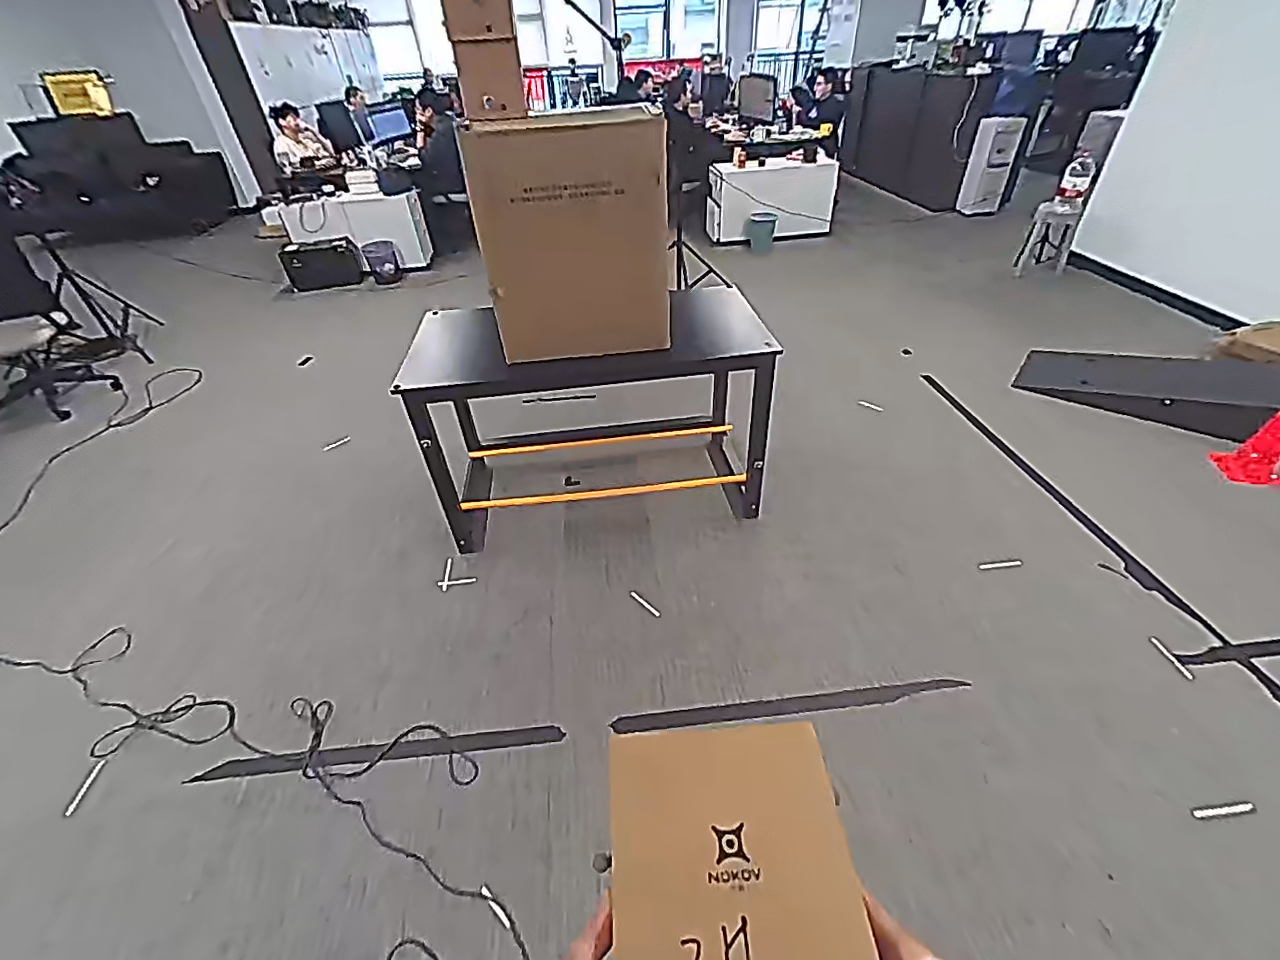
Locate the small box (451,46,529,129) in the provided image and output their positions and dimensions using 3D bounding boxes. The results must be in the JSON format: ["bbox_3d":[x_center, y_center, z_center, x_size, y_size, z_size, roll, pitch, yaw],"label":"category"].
[{"bbox_3d":[-0.397,-1.053,1.453,0.168,0.176,0.179,-9,39,-6],"label":"small box"}]

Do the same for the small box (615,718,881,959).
[{"bbox_3d":[0.065,0.316,0.432,0.168,0.176,0.179,-4,44,-2],"label":"small box"}]

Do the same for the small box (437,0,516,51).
[{"bbox_3d":[-0.406,-1.171,1.340,0.168,0.176,0.179,-8,39,-5],"label":"small box"}]
